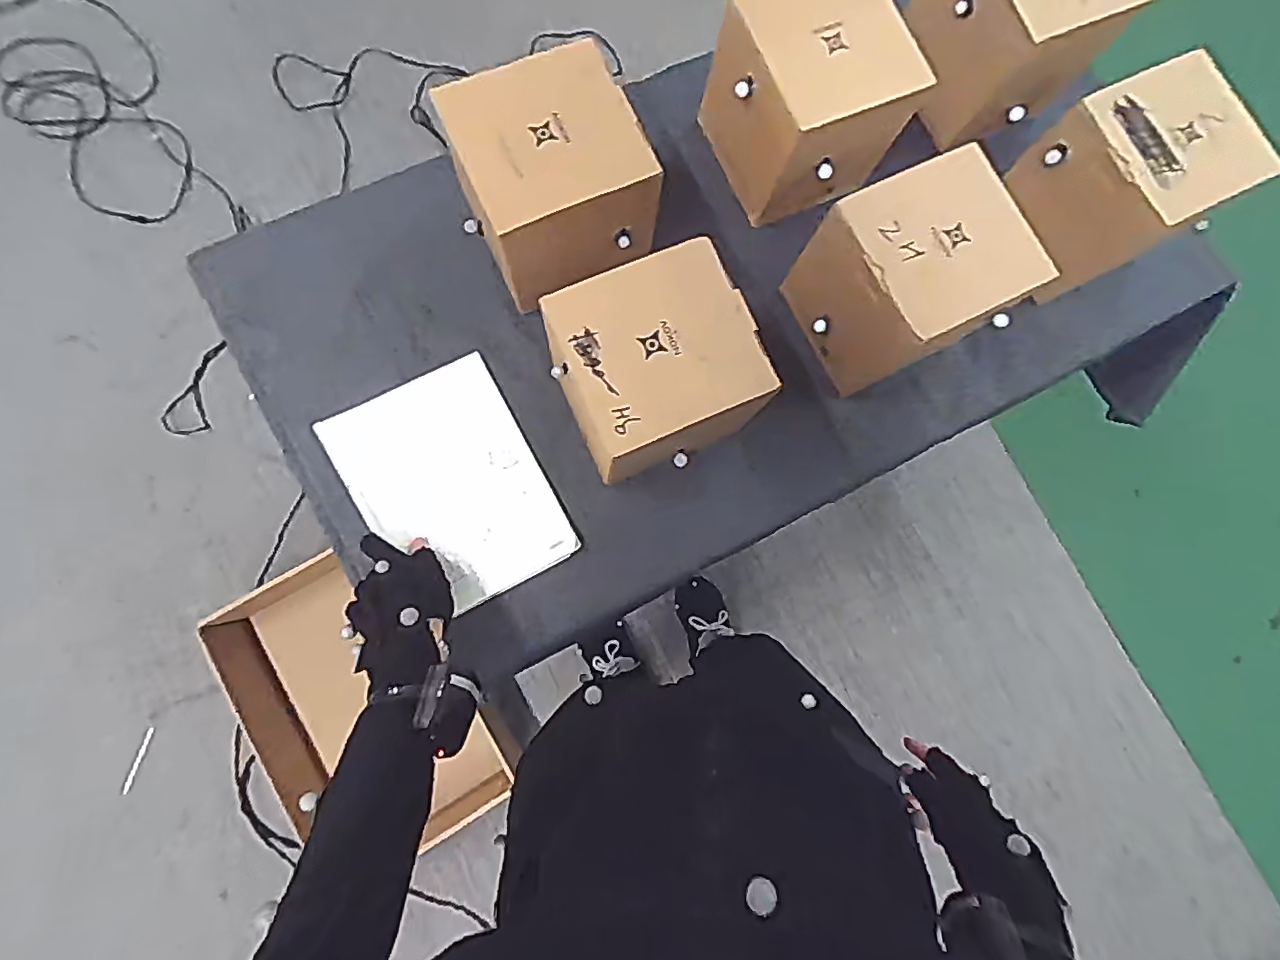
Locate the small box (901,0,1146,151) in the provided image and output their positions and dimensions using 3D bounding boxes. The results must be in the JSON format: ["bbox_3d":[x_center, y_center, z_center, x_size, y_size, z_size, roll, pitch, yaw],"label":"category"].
[{"bbox_3d":[0.454,-0.567,0.683,0.168,0.176,0.179,-24,84,-7],"label":"small box"}]

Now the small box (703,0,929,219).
[{"bbox_3d":[0.193,-0.445,0.646,0.168,0.176,0.179,-24,83,-8],"label":"small box"}]

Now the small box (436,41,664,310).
[{"bbox_3d":[-0.094,-0.322,0.601,0.179,0.176,0.168,-25,83,-9],"label":"small box"}]

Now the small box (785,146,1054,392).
[{"bbox_3d":[0.297,-0.225,0.615,0.179,0.176,0.168,-26,83,-9],"label":"small box"}]
